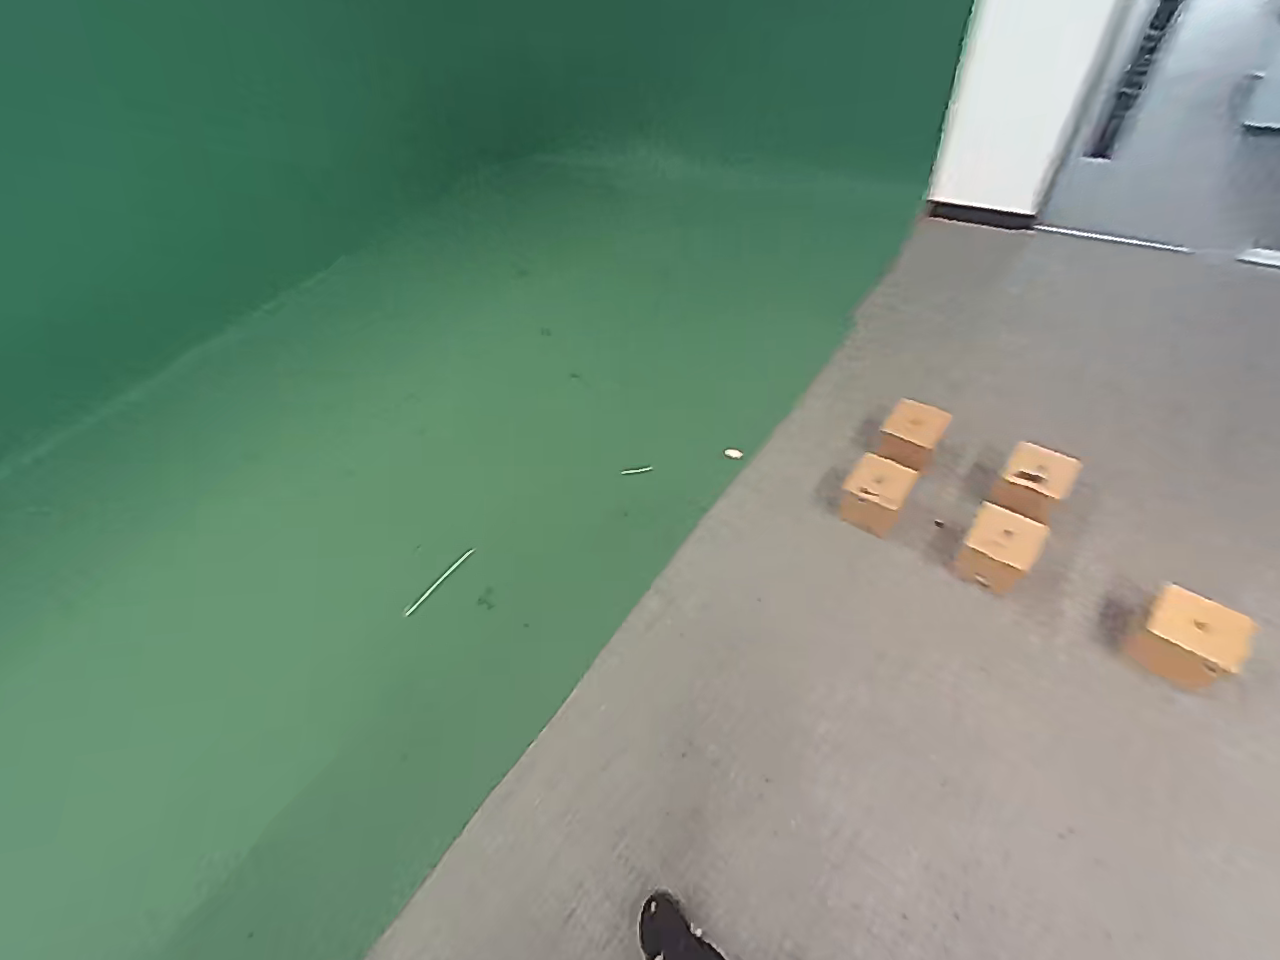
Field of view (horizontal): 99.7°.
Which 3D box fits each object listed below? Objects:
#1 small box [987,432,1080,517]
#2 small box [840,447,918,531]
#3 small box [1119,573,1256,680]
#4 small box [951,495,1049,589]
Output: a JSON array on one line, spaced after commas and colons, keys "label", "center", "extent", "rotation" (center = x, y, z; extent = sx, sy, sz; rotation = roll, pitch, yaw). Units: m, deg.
[{"label": "small box", "center": [1.211, -0.010, 1.678], "extent": [0.168, 0.176, 0.179], "rotation": [29, 64, 29]}, {"label": "small box", "center": [0.764, 0.031, 1.748], "extent": [0.168, 0.176, 0.179], "rotation": [27, 63, 29]}, {"label": "small box", "center": [1.365, 0.373, 1.360], "extent": [0.179, 0.176, 0.168], "rotation": [30, 65, 29]}, {"label": "small box", "center": [1.038, 0.181, 1.574], "extent": [0.168, 0.176, 0.179], "rotation": [29, 64, 29]}]
